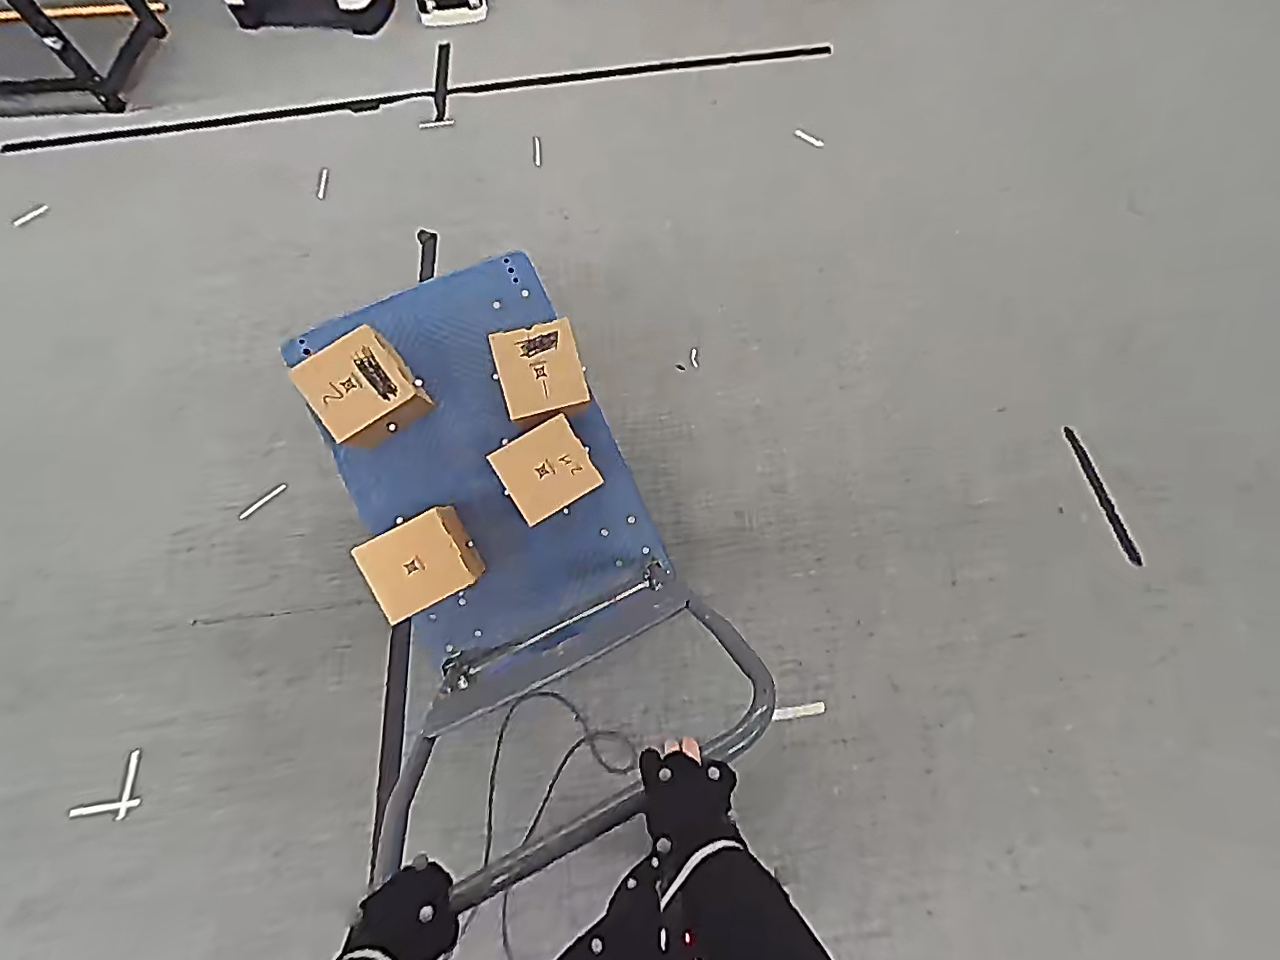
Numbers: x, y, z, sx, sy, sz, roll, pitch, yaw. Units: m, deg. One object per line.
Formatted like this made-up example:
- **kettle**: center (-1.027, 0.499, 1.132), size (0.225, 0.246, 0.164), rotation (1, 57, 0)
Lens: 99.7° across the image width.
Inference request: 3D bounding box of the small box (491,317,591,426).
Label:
- **small box**: center (-0.209, -0.226, 1.159), size (0.168, 0.176, 0.179), rotation (-16, 92, -8)

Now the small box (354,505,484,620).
- **small box**: center (-0.444, 0.163, 1.119), size (0.179, 0.176, 0.168), rotation (-28, 93, -9)

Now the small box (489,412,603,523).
- **small box**: center (-0.196, -0.023, 1.157), size (0.179, 0.176, 0.168), rotation (-31, 93, -7)
